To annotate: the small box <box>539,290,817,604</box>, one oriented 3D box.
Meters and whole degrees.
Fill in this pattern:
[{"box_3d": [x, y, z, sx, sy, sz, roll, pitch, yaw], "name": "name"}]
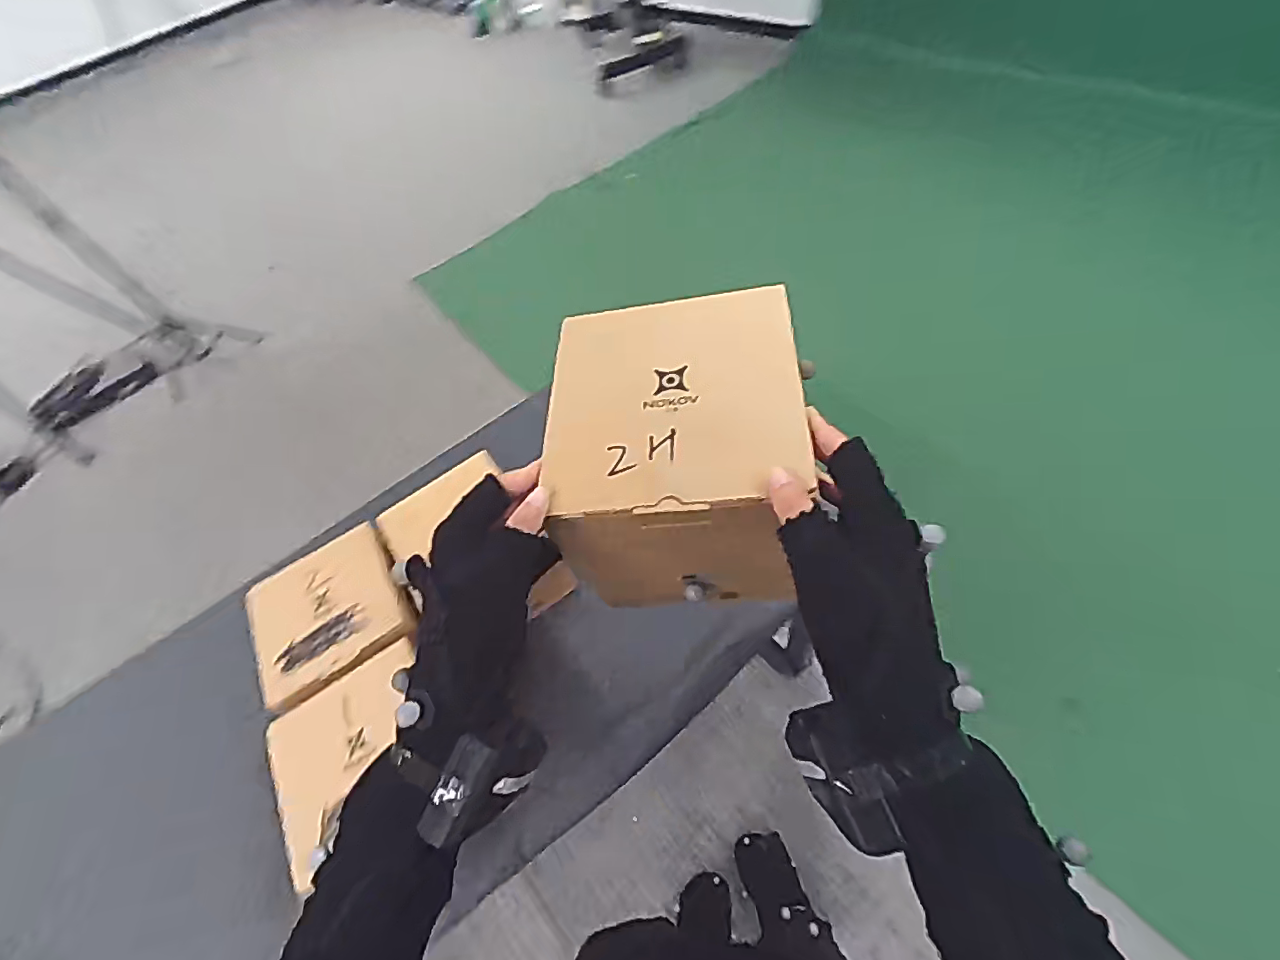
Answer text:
[{"box_3d": [0.040, -0.016, 0.422, 0.168, 0.176, 0.179, -4, 58, 12], "name": "small box"}]
